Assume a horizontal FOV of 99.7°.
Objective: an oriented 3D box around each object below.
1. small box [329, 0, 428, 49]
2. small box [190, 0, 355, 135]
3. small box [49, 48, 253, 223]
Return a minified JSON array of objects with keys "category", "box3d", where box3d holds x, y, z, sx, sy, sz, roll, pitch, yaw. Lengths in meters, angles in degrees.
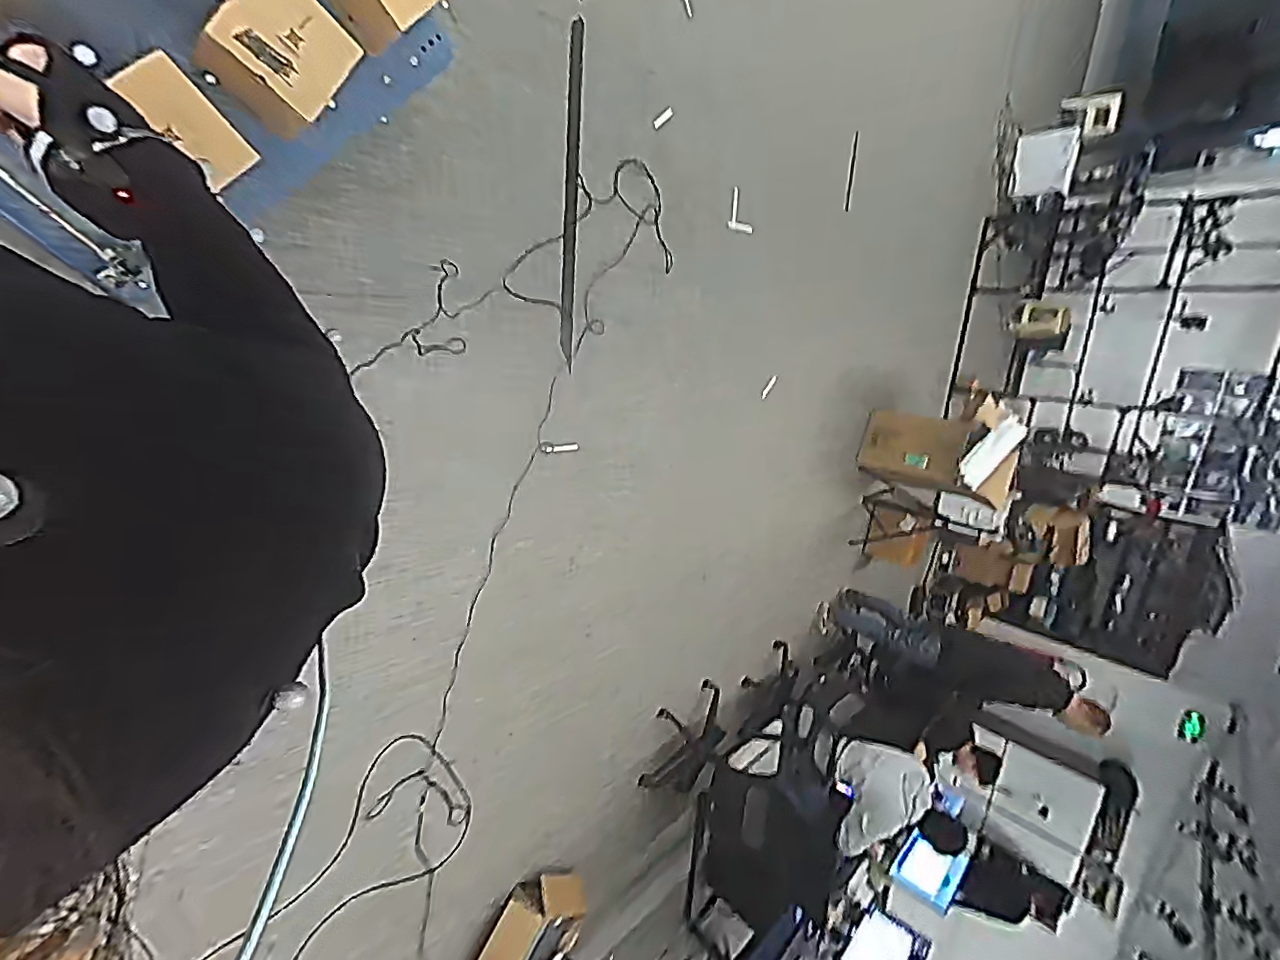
[{"category":"small box","box3d":[-0.502,-0.966,1.019,0.179,0.176,0.168,-57,135,-16]},{"category":"small box","box3d":[-0.644,-0.746,0.943,0.168,0.176,0.179,37,75,-46]},{"category":"small box","box3d":[-0.780,-0.539,0.872,0.179,0.176,0.168,-55,136,-20]}]
